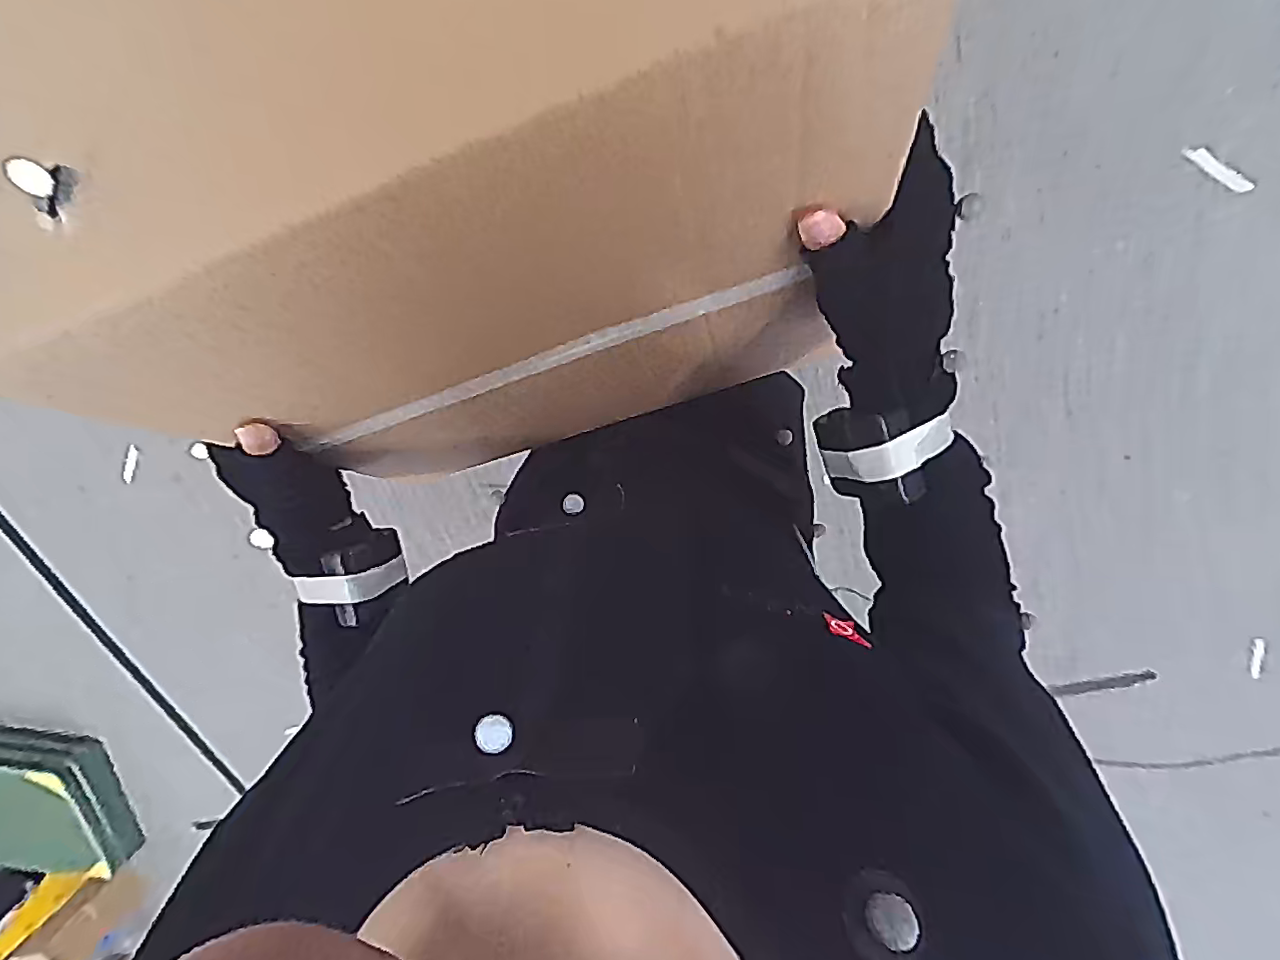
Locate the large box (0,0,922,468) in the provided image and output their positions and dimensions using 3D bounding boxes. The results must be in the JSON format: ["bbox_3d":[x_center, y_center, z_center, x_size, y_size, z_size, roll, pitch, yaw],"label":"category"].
[{"bbox_3d":[-0.096,-0.232,0.370,0.408,0.320,0.320,-16,78,11],"label":"large box"}]
